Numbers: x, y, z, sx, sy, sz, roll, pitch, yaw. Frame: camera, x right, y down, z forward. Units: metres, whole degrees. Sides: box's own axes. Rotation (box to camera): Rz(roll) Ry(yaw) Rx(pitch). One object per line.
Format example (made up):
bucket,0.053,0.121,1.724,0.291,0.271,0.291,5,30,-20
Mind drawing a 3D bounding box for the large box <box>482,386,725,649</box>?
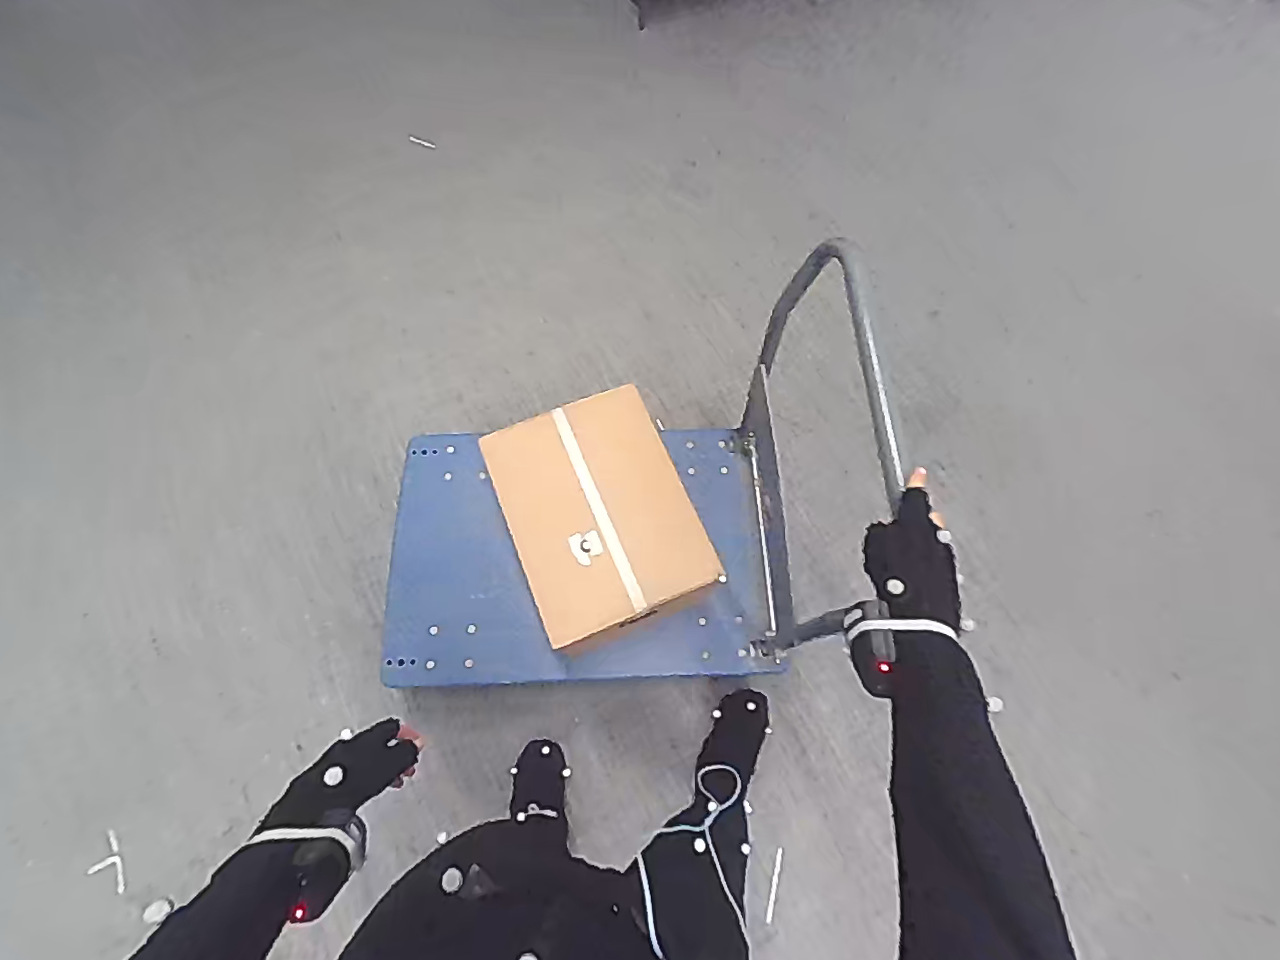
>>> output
large box,-0.080,0.090,1.105,0.320,0.320,0.408,-23,73,-9
